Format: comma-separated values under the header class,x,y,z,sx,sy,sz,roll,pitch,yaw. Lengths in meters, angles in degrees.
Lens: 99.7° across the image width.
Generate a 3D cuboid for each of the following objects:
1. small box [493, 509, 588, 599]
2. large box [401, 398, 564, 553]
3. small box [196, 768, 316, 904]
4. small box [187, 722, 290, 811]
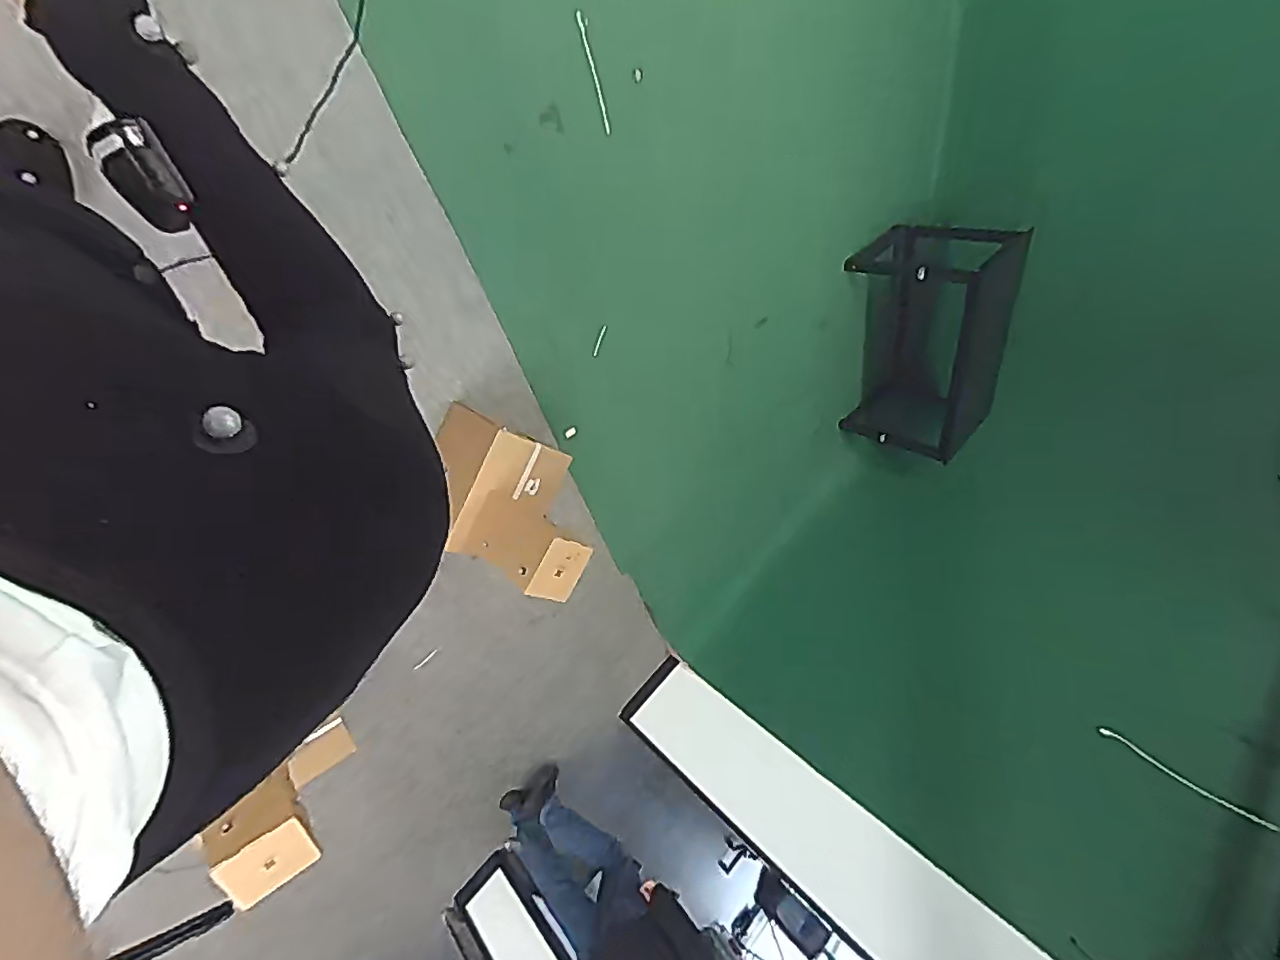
class,x,y,z,sx,sy,sz,roll,pitch,yaw
small box,-0.286,0.208,1.523,0.168,0.176,0.179,29,90,-51
large box,-0.525,-0.005,1.791,0.320,0.320,0.408,21,95,-52
small box,-0.883,0.804,1.244,0.168,0.176,0.179,-26,129,-34
small box,-0.995,0.752,1.351,0.168,0.176,0.179,-25,127,-36
